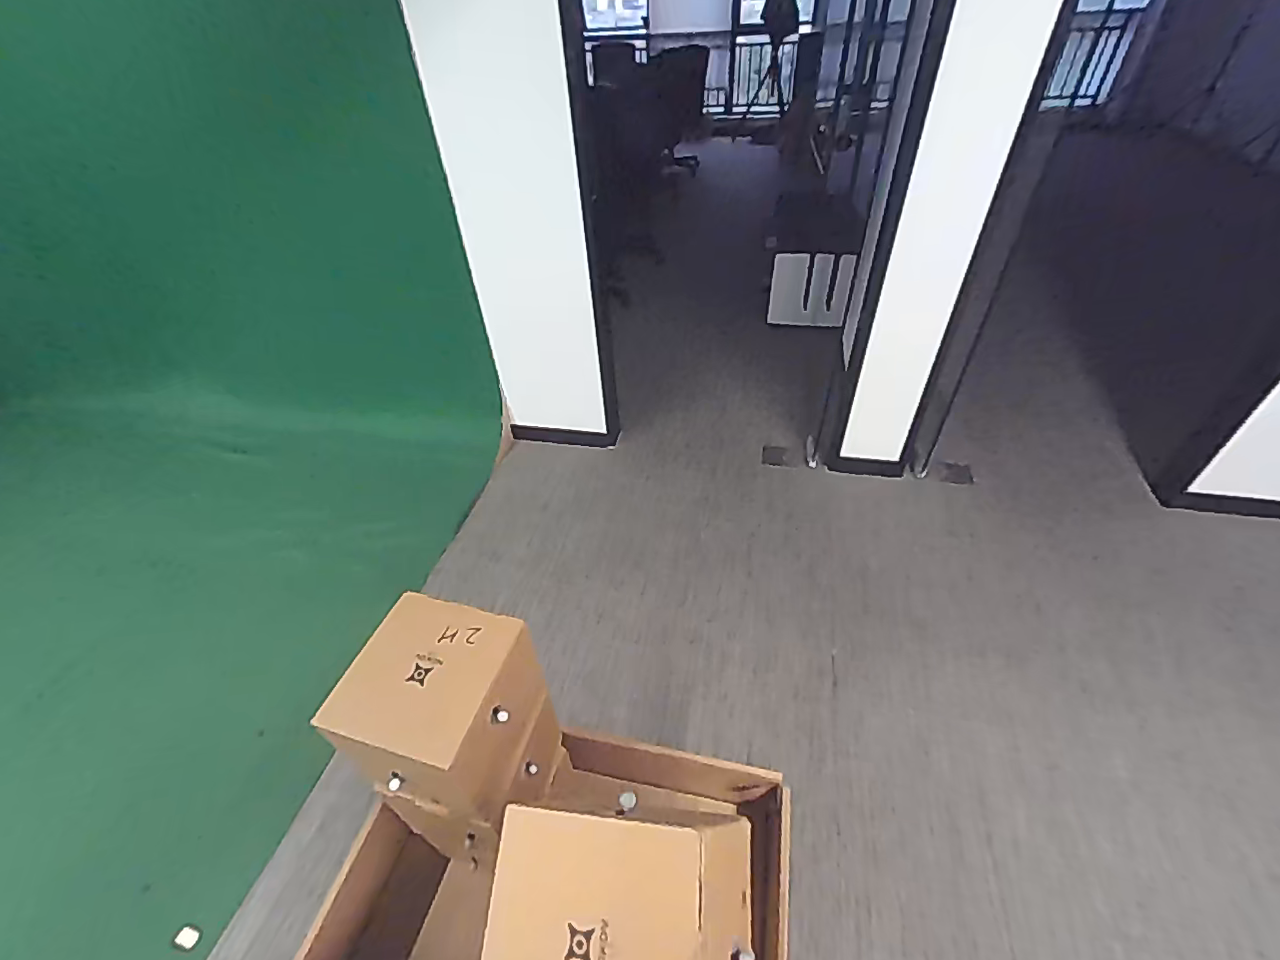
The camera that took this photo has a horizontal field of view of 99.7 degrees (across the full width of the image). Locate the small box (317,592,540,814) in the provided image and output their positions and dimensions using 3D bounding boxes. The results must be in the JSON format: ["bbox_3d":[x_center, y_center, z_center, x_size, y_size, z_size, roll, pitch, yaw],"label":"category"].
[{"bbox_3d":[-0.233,0.270,0.655,0.168,0.176,0.179,11,44,13],"label":"small box"}]

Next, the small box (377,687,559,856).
[{"bbox_3d":[-0.223,0.395,0.761,0.168,0.176,0.179,10,43,12],"label":"small box"}]

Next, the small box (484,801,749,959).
[{"bbox_3d":[-0.010,0.379,0.463,0.179,0.176,0.168,-5,61,20],"label":"small box"}]
